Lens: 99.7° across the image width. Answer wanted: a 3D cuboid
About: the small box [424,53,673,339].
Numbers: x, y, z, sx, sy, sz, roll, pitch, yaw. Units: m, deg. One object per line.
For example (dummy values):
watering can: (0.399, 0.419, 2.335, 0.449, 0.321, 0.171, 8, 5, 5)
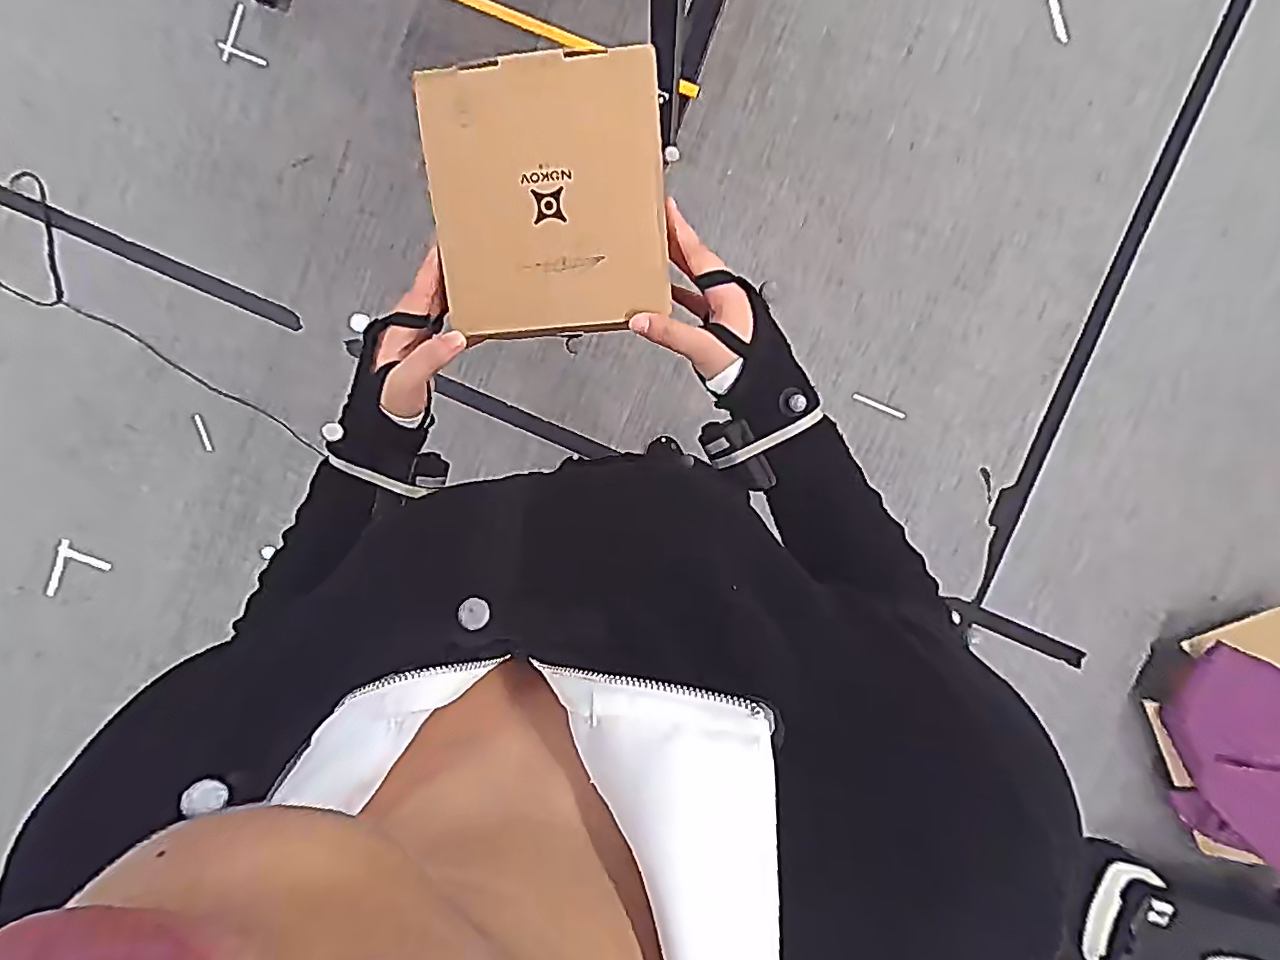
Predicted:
small box: (-0.061, -0.218, 0.464, 0.168, 0.176, 0.179, -4, 104, 3)
